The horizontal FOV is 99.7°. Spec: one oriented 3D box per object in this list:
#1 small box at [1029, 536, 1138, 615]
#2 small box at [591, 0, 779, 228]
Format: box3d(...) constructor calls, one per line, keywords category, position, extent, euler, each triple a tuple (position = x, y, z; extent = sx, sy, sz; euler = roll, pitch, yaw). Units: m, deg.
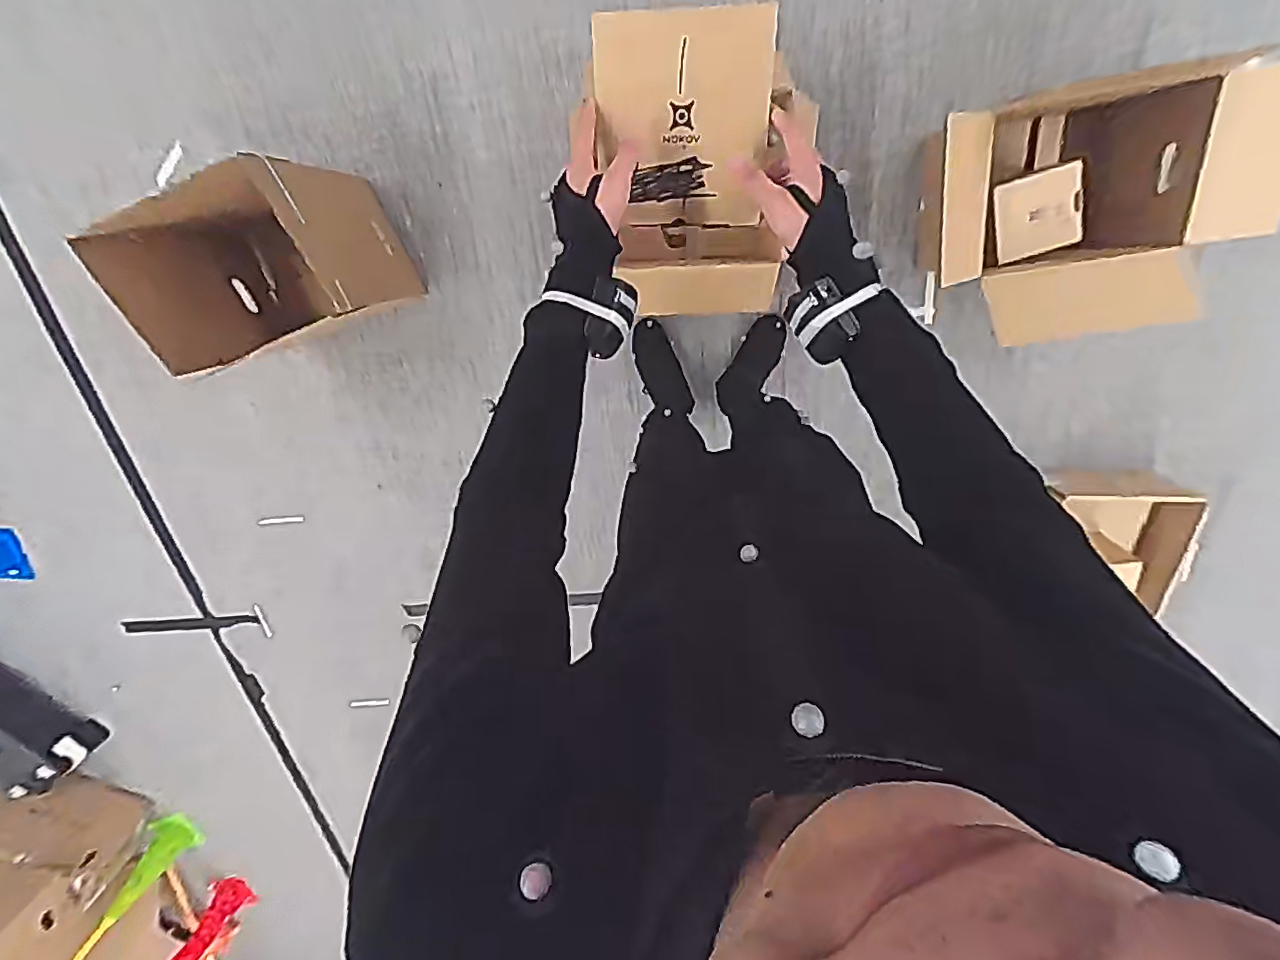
box3d(category="small box", position=(1.301, 0.280, 1.603), extent=(0.179, 0.176, 0.168), euler=(-5, 115, 4))
box3d(category="small box", position=(0.049, -0.374, 0.573), extent=(0.168, 0.176, 0.179), euler=(3, 121, 7))
